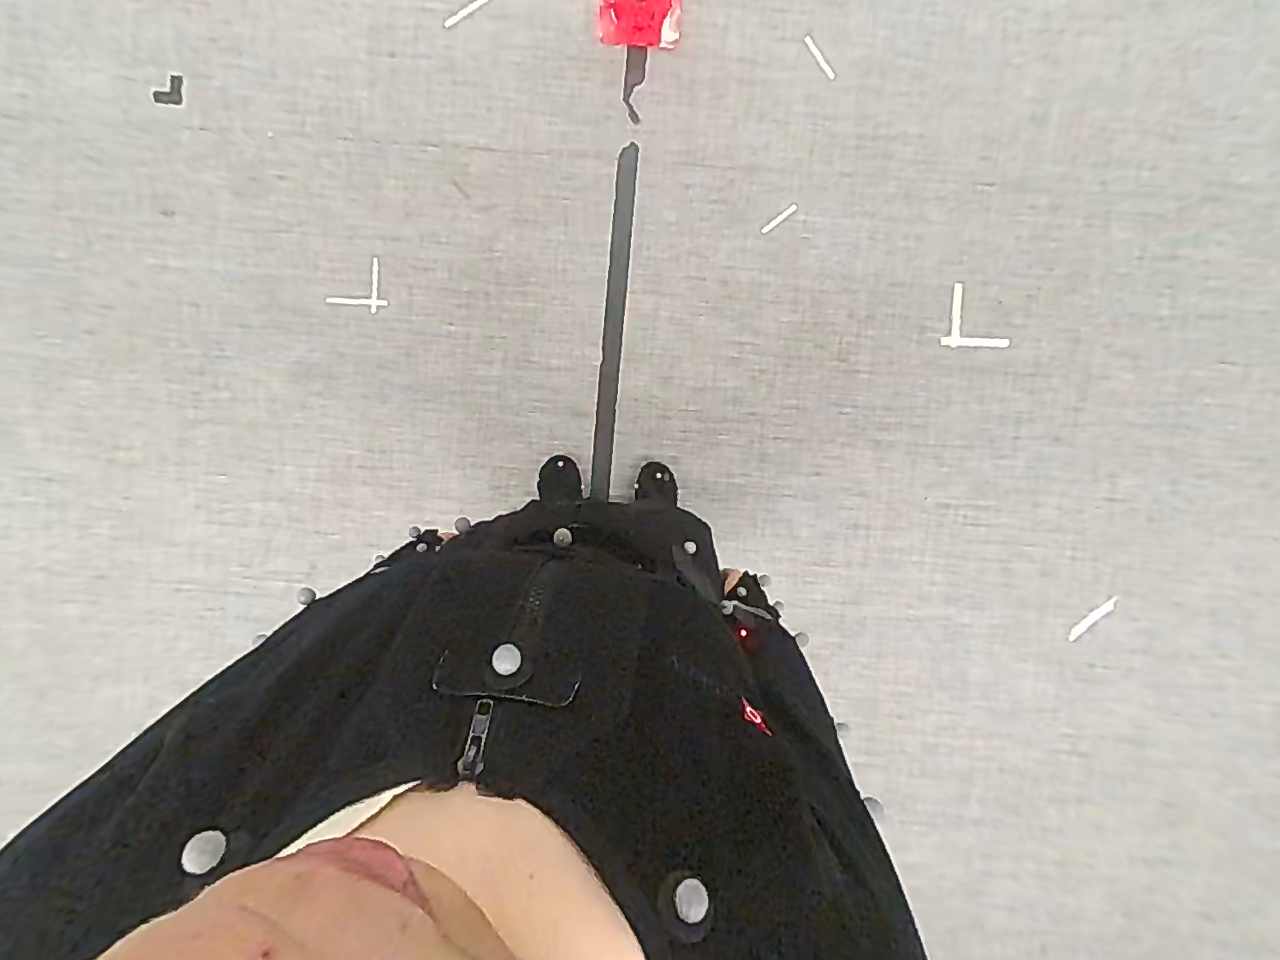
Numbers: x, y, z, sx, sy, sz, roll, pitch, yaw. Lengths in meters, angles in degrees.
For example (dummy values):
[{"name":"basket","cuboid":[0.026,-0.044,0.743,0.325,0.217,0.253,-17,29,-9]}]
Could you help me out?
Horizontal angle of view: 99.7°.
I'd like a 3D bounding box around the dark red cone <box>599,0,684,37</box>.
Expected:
[{"name":"dark red cone","cuboid":[0.004,-1.141,1.104,0.201,0.394,0.202,4,94,0]}]
